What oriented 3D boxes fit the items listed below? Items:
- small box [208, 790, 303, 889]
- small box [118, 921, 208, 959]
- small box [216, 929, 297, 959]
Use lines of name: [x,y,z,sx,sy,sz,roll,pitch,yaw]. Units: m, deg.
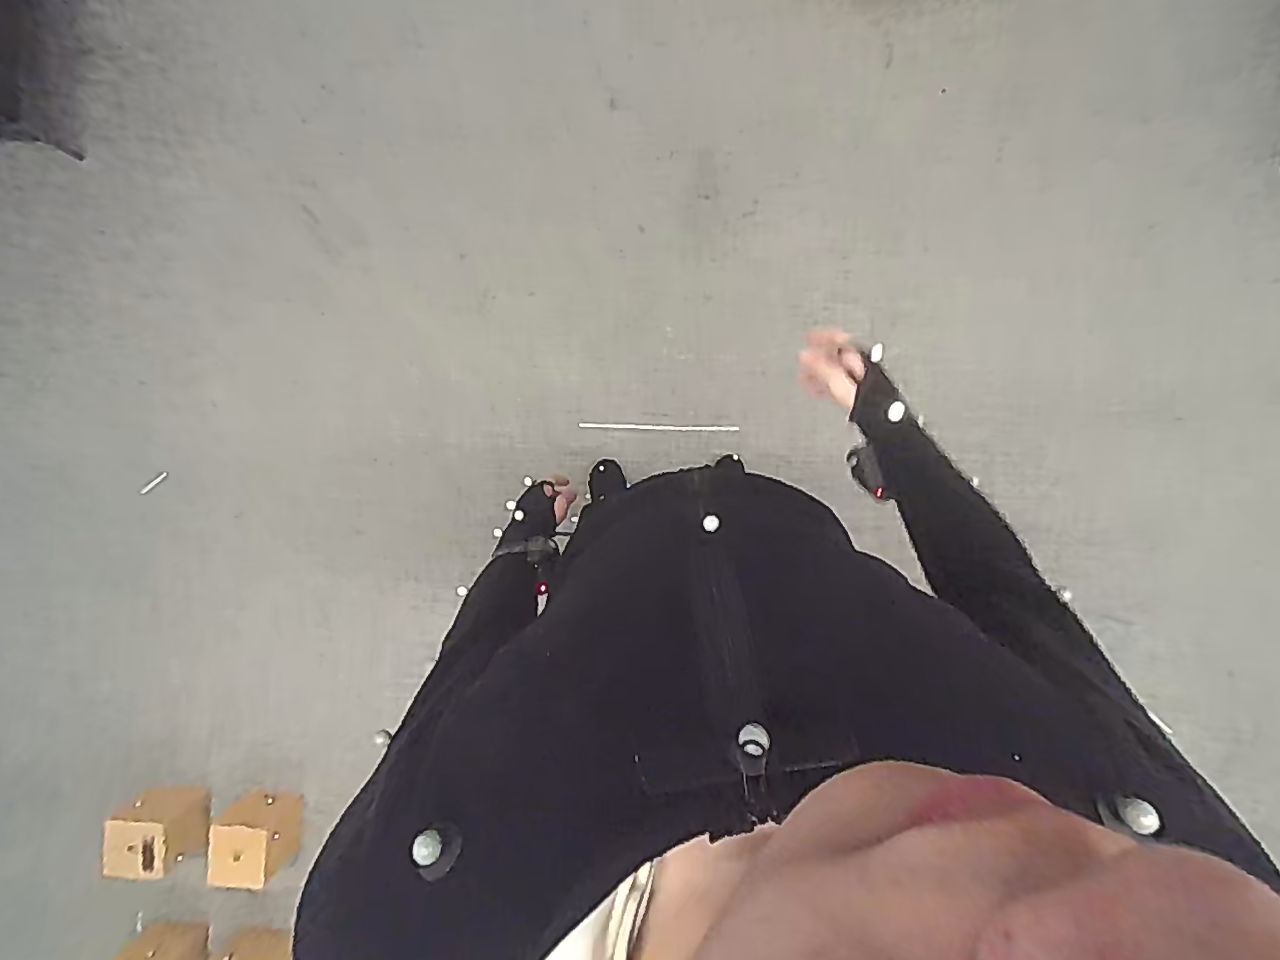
small box: [-1.135,1.064,1.608,0.168,0.176,0.179,4,91,1]
small box: [-1.450,1.477,1.627,0.179,0.176,0.168,4,92,2]
small box: [-1.173,1.497,1.621,0.179,0.176,0.168,4,92,1]
